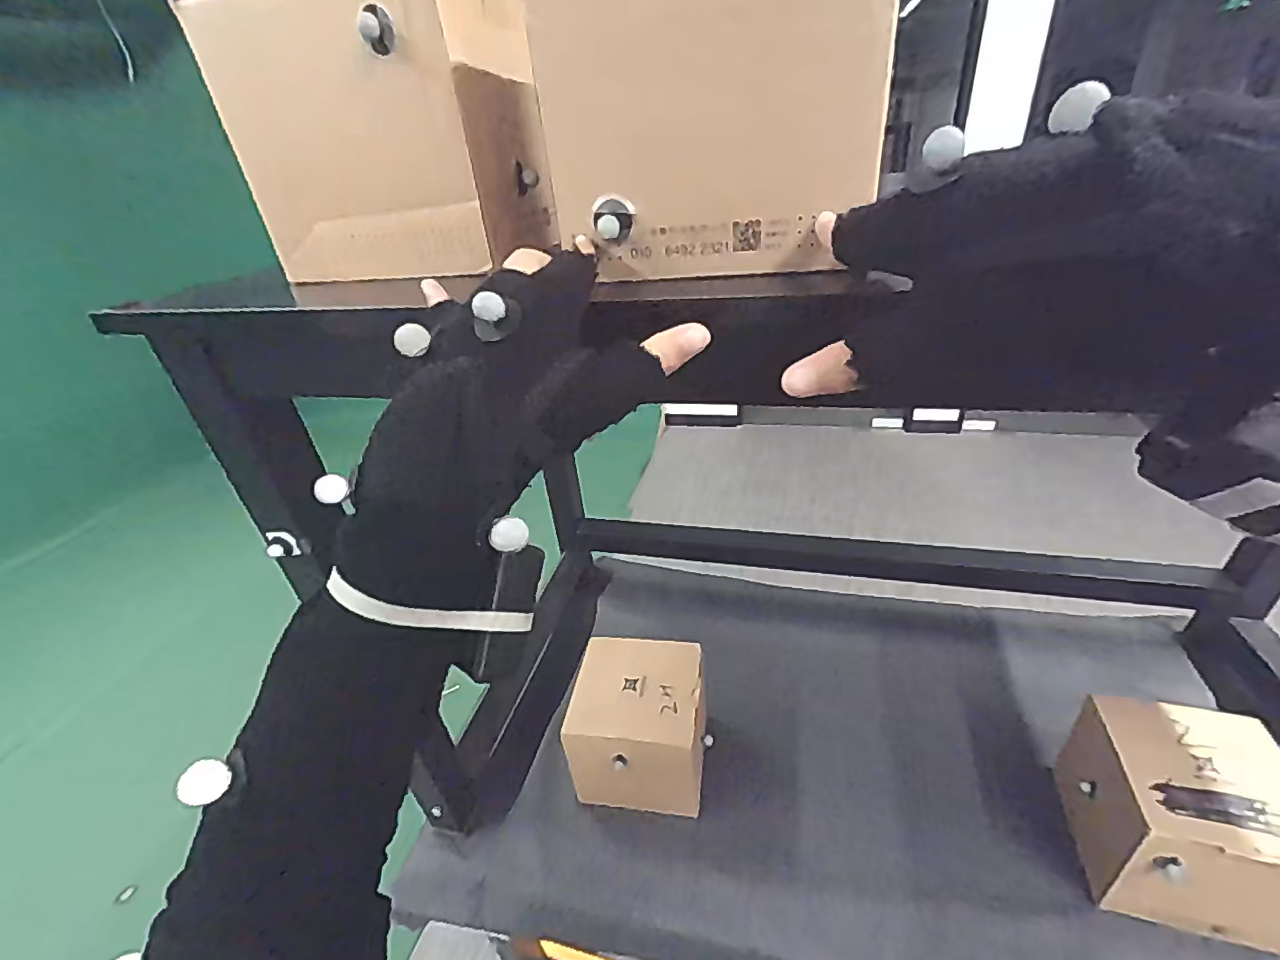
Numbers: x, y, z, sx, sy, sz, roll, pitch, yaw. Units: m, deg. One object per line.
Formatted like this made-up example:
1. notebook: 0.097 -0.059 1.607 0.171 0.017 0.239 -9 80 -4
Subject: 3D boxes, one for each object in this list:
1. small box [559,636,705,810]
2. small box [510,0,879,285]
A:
1. small box: -0.001 0.355 0.796 0.179 0.176 0.168 1 33 11
2. small box: 0.043 -0.219 0.324 0.168 0.176 0.179 2 33 13
